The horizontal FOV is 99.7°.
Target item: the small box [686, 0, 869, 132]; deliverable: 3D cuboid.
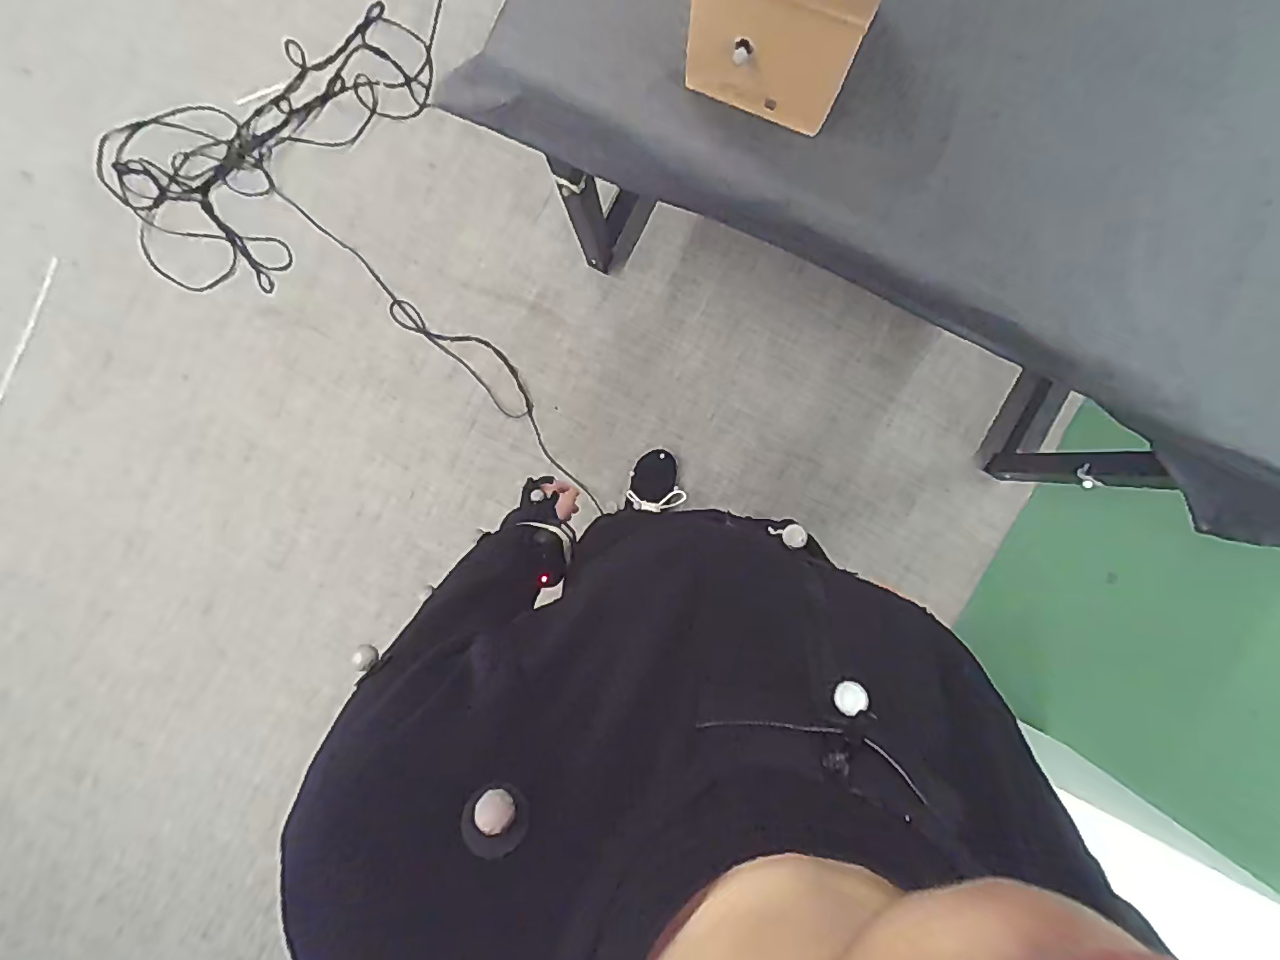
[{"bbox_3d":[0.153,-0.506,0.552,0.168,0.176,0.179,22,92,1],"label":"small box"}]
